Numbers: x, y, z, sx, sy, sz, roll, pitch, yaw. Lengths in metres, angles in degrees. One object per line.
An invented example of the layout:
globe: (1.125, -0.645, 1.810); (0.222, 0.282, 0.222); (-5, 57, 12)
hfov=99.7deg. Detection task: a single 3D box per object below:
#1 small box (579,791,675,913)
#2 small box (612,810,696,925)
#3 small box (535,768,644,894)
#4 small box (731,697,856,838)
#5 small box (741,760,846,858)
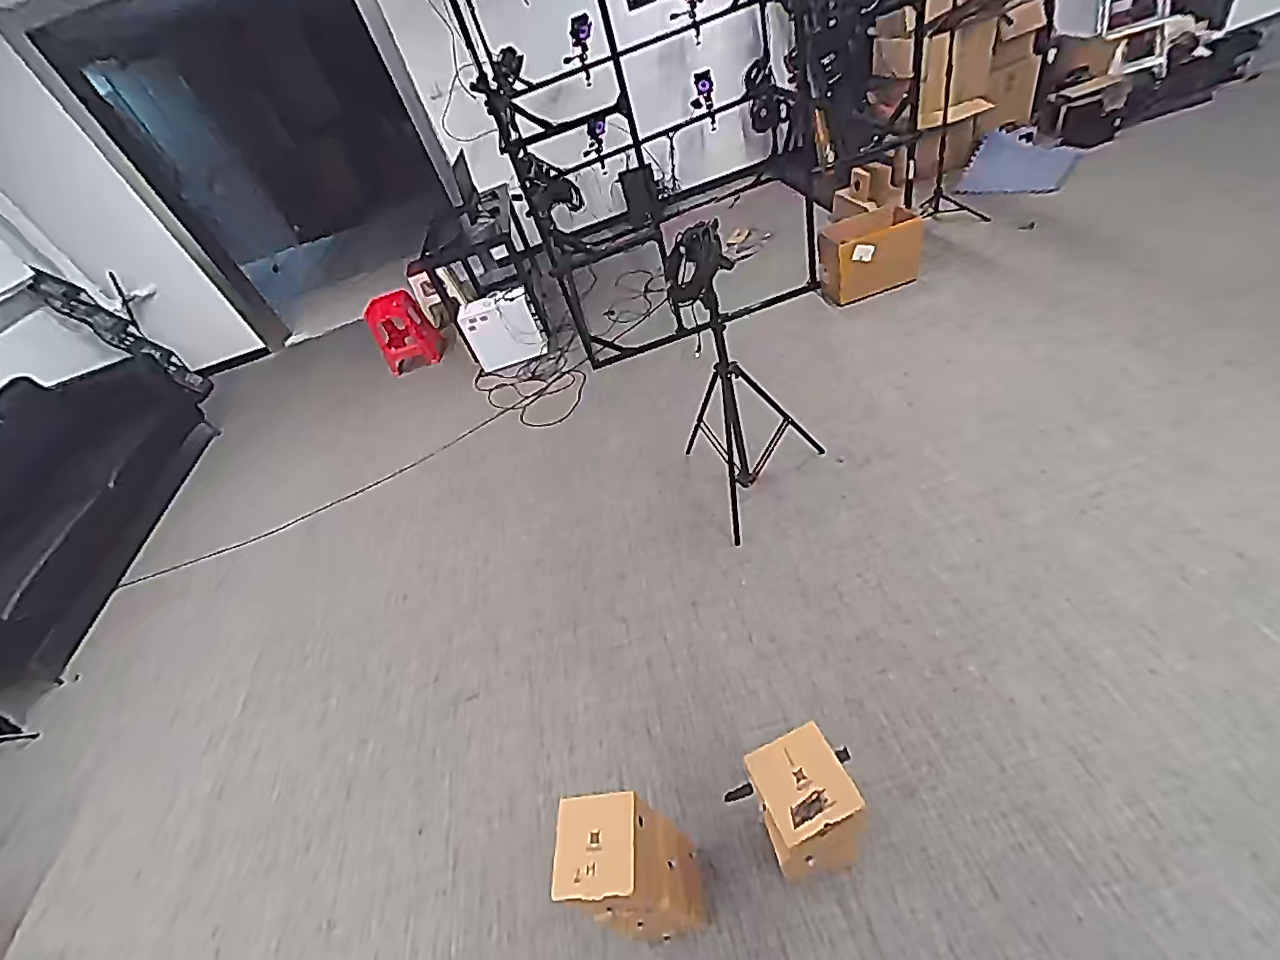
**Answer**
small box: (-0.030, 0.817, 1.186); (0.168, 0.176, 0.179); (-17, 43, 7)
small box: (0.024, 0.926, 1.290); (0.168, 0.176, 0.179); (-19, 42, 5)
small box: (-0.093, 0.703, 1.083); (0.168, 0.176, 0.179); (-13, 44, 11)
small box: (0.301, 0.569, 1.059); (0.168, 0.176, 0.179); (-25, 43, -5)
small box: (0.331, 0.683, 1.176); (0.168, 0.176, 0.179); (-20, 42, 1)
